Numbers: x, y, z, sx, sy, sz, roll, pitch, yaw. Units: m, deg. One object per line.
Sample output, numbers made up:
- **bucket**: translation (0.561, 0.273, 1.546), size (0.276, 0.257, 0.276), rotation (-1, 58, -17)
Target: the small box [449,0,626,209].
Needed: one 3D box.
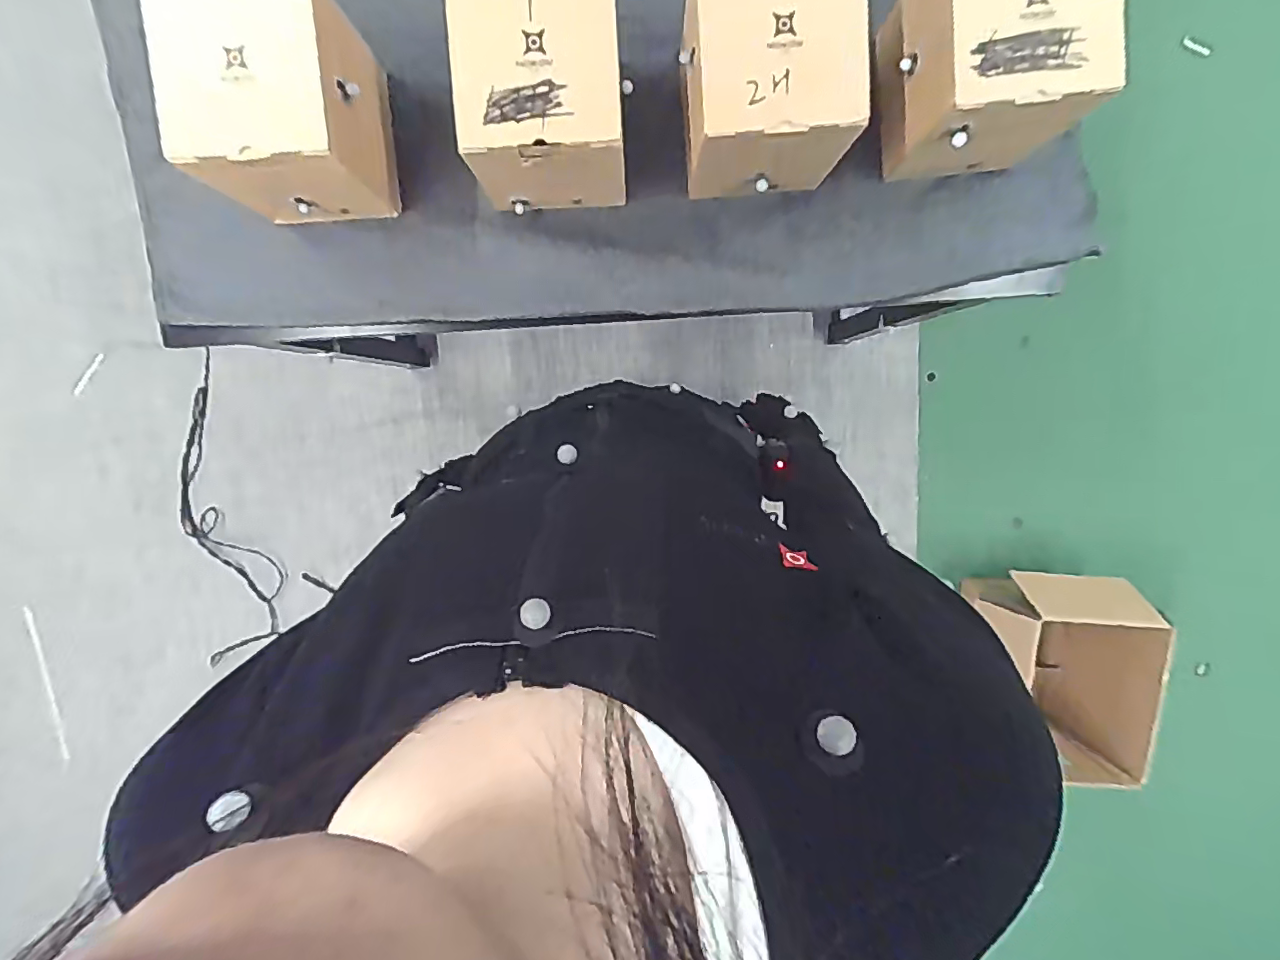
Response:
- **small box**: translation (-0.102, -0.421, 0.608), size (0.168, 0.176, 0.179), rotation (-3, 96, 0)

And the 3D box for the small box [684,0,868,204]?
- **small box**: translation (0.140, -0.438, 0.608), size (0.168, 0.176, 0.179), rotation (-4, 97, 2)

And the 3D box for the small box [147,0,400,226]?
- **small box**: translation (-0.390, -0.409, 0.606), size (0.168, 0.176, 0.179), rotation (-4, 97, -1)
